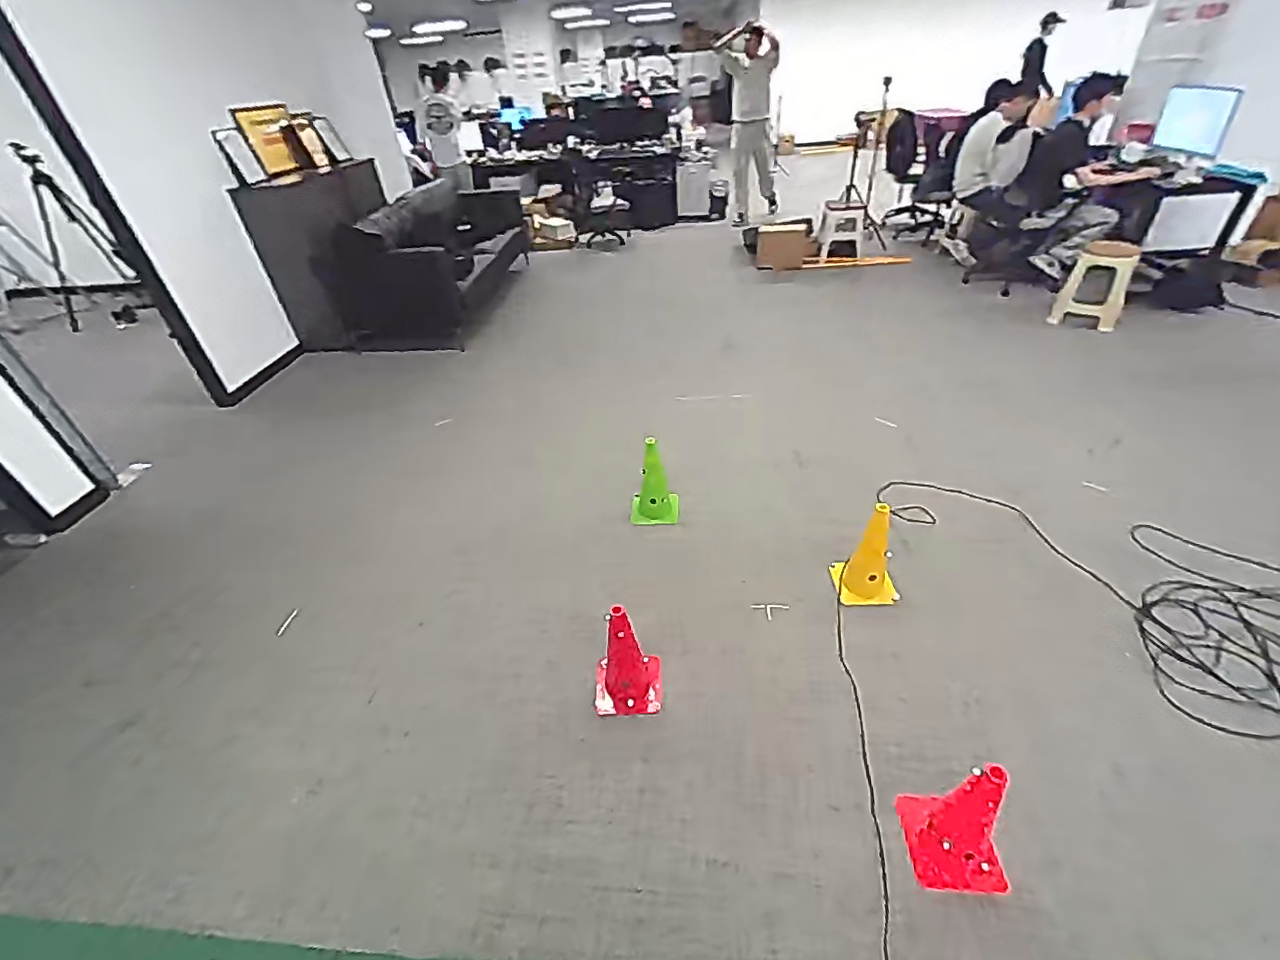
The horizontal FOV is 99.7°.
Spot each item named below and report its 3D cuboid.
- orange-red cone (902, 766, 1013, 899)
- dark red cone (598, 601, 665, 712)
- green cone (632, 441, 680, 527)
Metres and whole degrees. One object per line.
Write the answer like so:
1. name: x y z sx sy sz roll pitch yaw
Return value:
1. orange-red cone: 0.733 0.727 1.180 0.198 0.360 0.199 0 36 6
2. dark red cone: -0.039 0.490 1.562 0.202 0.394 0.201 -4 38 2
3. green cone: 0.062 0.000 2.246 0.202 0.368 0.200 -1 37 4
